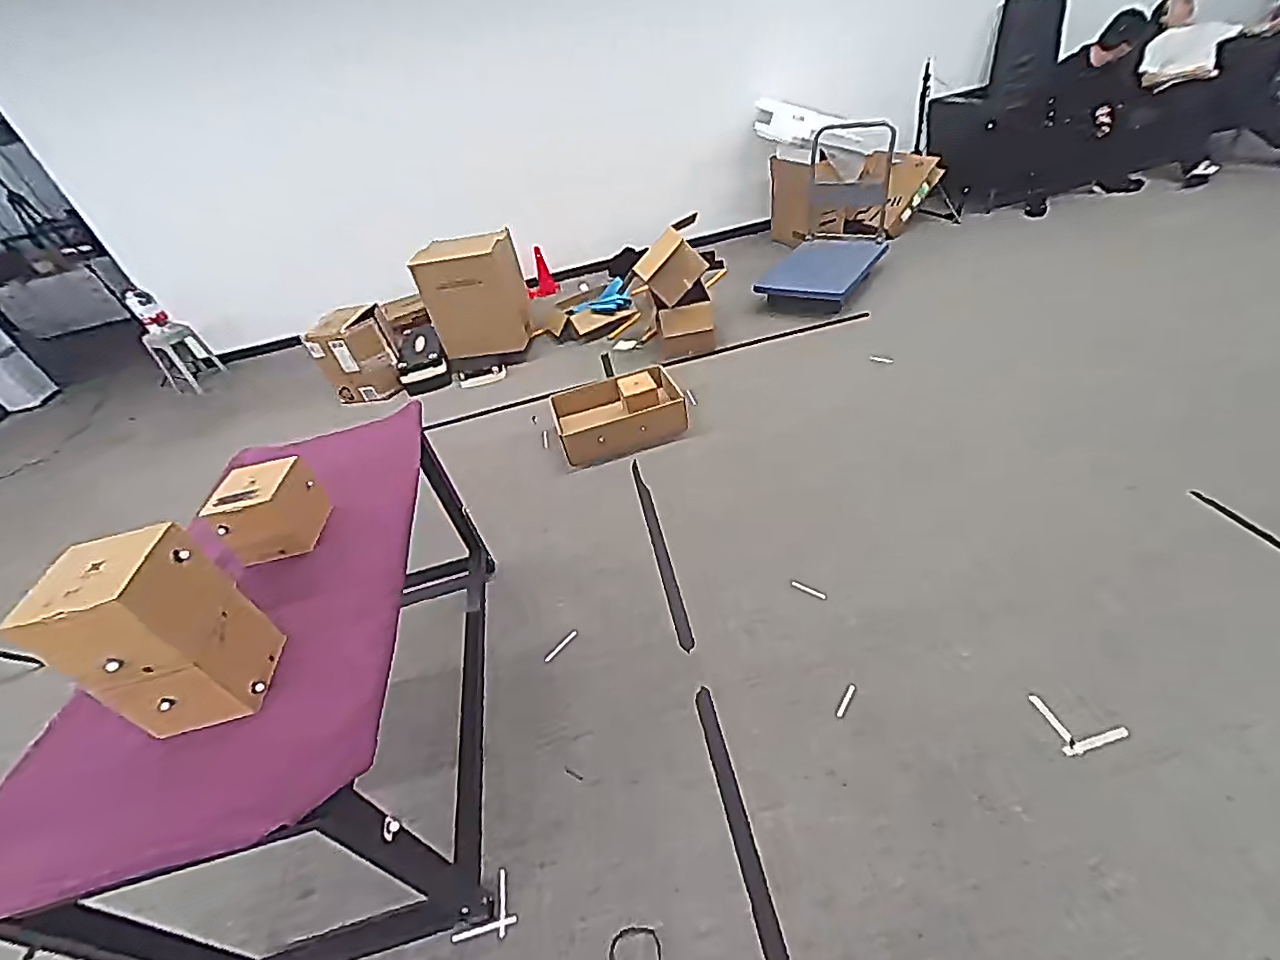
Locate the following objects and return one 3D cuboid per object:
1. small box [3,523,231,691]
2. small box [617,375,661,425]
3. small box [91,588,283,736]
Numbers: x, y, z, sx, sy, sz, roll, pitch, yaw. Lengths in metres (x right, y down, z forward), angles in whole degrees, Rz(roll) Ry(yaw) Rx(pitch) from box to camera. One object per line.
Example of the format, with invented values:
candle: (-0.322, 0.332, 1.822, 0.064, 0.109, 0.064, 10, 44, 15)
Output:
small box: (-0.809, 0.202, 0.868, 0.168, 0.176, 0.179, -15, 39, -3)
small box: (-0.004, -0.401, 2.717, 0.168, 0.176, 0.179, -18, 39, -6)
small box: (-0.791, 0.328, 0.973, 0.179, 0.176, 0.168, -15, 38, -2)
